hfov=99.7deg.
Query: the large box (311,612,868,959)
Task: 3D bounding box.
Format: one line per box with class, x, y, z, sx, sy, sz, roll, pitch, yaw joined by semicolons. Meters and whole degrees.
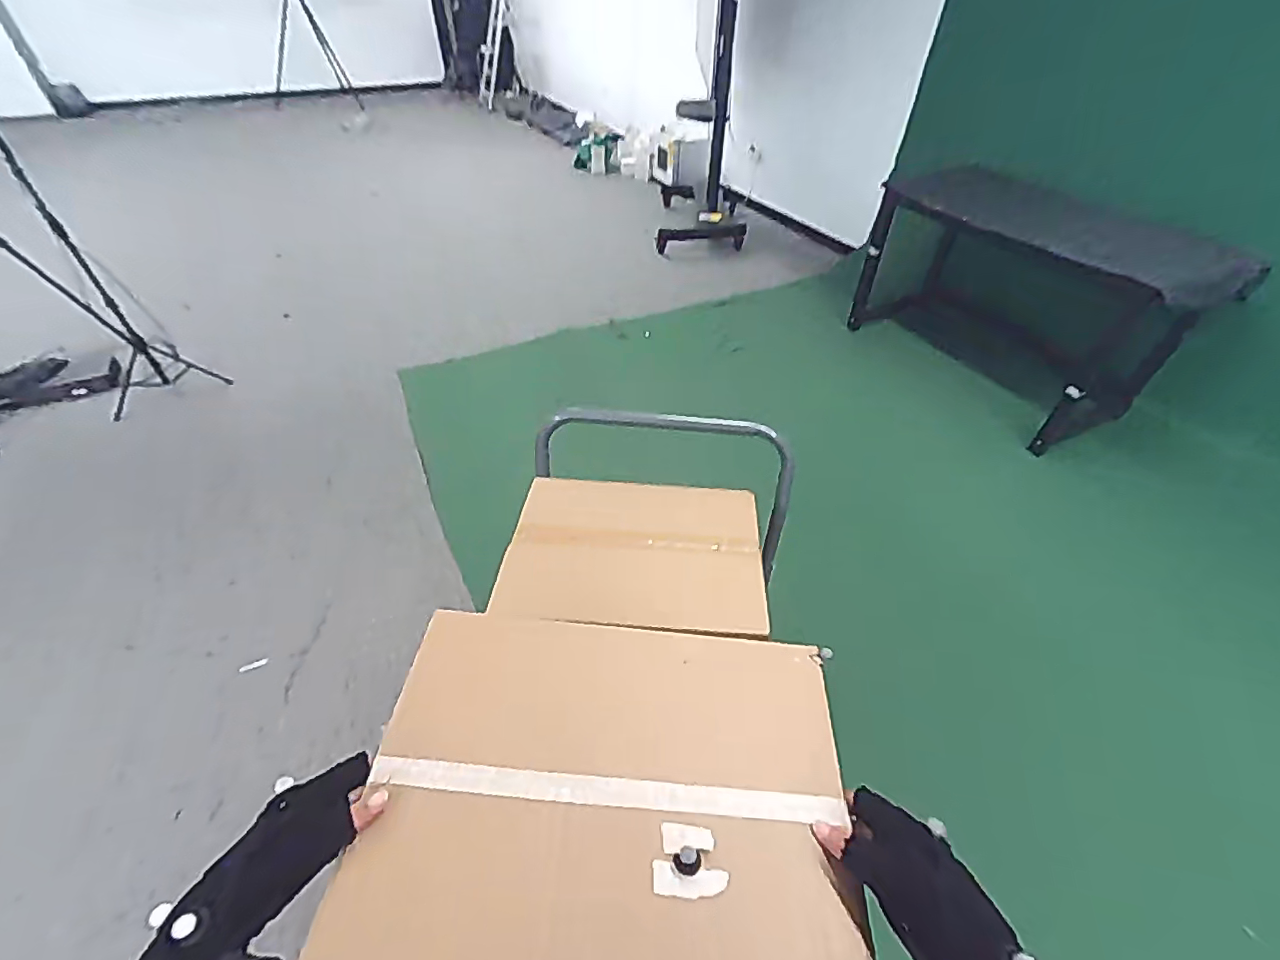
large box;-0.038;0.369;0.567;0.408;0.320;0.320;6;45;-1
